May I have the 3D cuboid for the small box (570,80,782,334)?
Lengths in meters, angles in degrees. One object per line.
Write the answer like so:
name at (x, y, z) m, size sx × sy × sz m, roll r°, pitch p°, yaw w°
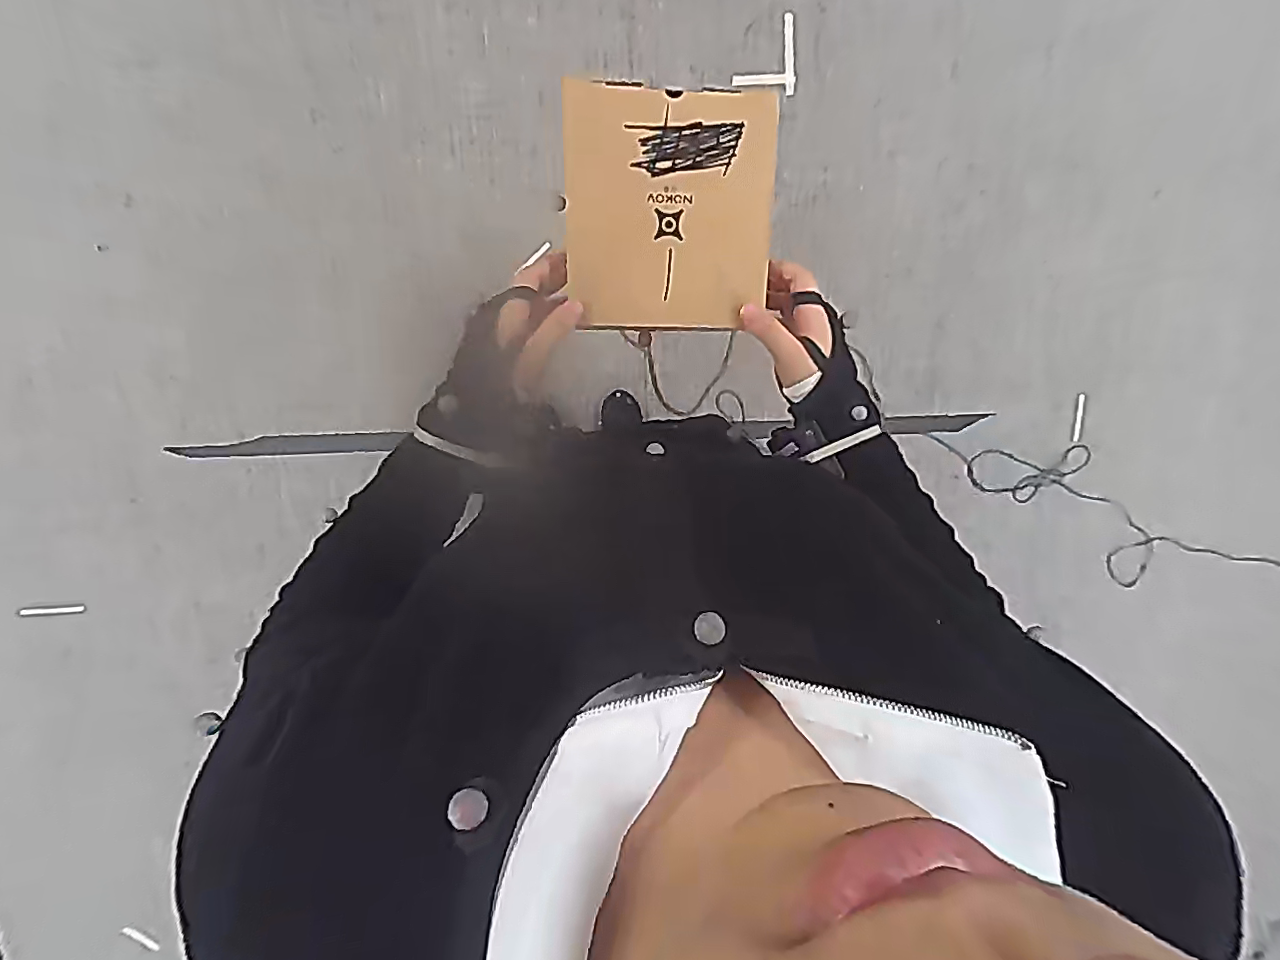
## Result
small box at (0.018, -0.230, 0.503) m, size 0.168 × 0.176 × 0.179 m, roll 0°, pitch 105°, yaw -6°
